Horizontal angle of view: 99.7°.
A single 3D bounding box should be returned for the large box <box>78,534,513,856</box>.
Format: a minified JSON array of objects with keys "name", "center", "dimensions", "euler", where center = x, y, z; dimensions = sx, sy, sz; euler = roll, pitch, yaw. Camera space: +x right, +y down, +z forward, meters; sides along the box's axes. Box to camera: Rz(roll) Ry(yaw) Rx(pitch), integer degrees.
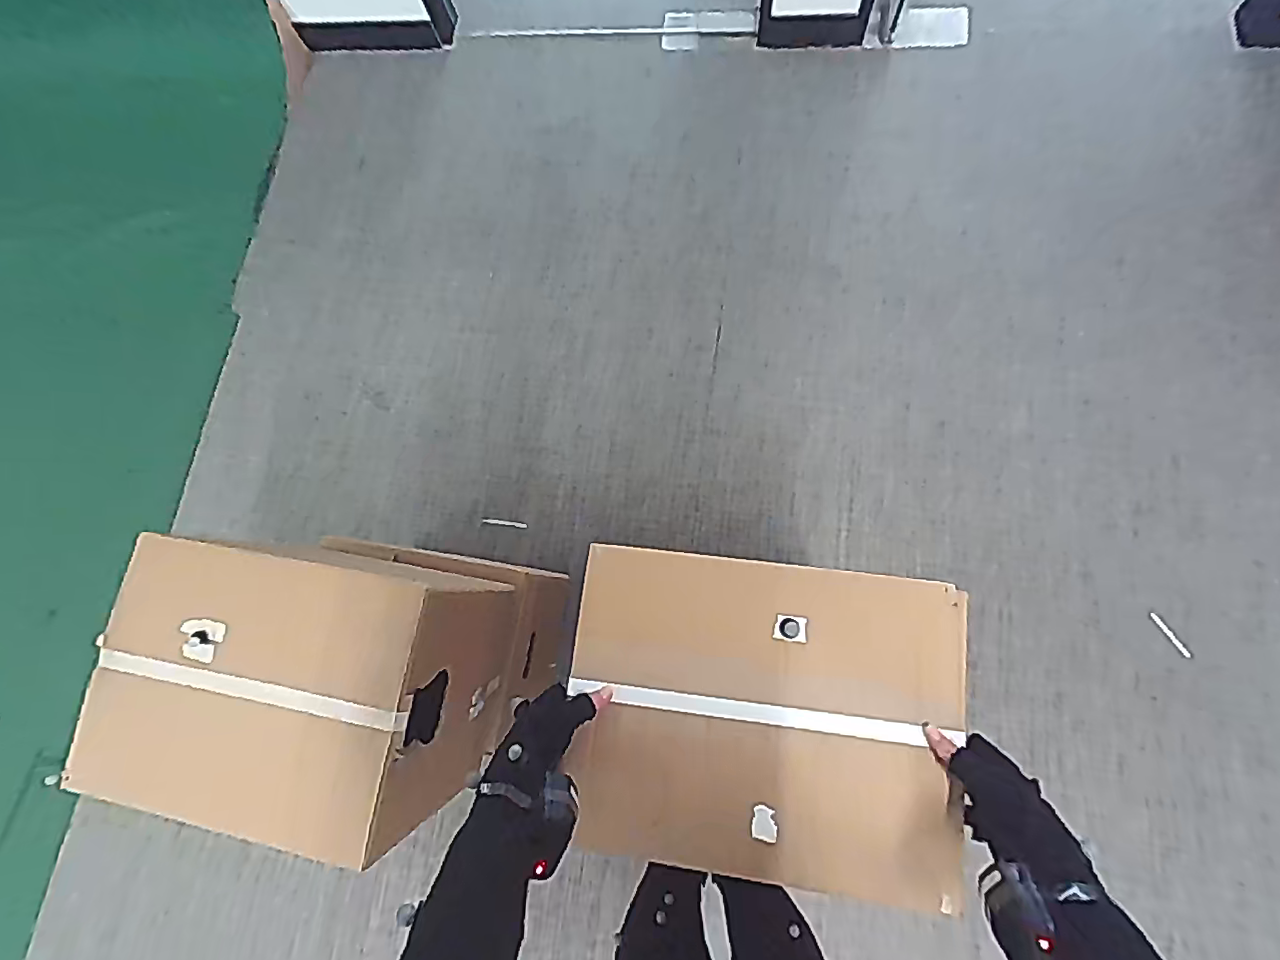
[{"name":"large box","center":[-0.449,0.269,0.794],"dimensions":[0.408,0.320,0.320],"euler":[8,80,10]}]
